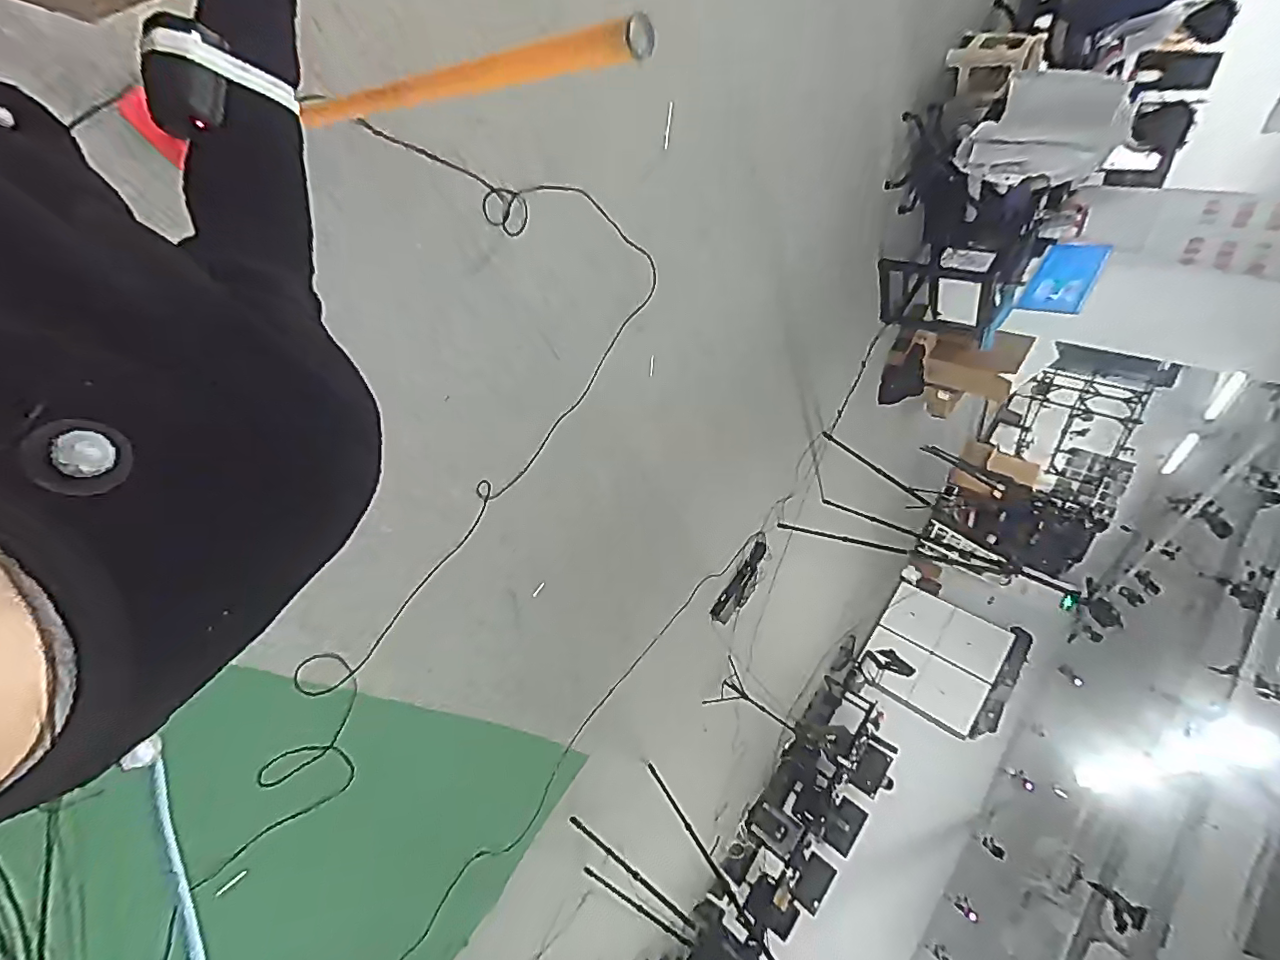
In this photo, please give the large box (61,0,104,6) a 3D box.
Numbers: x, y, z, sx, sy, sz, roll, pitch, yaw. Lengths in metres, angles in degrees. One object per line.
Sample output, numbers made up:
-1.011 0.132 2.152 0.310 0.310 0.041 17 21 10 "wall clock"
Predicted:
-0.522 -0.501 0.249 0.408 0.320 0.320 -18 125 -49 "large box"
